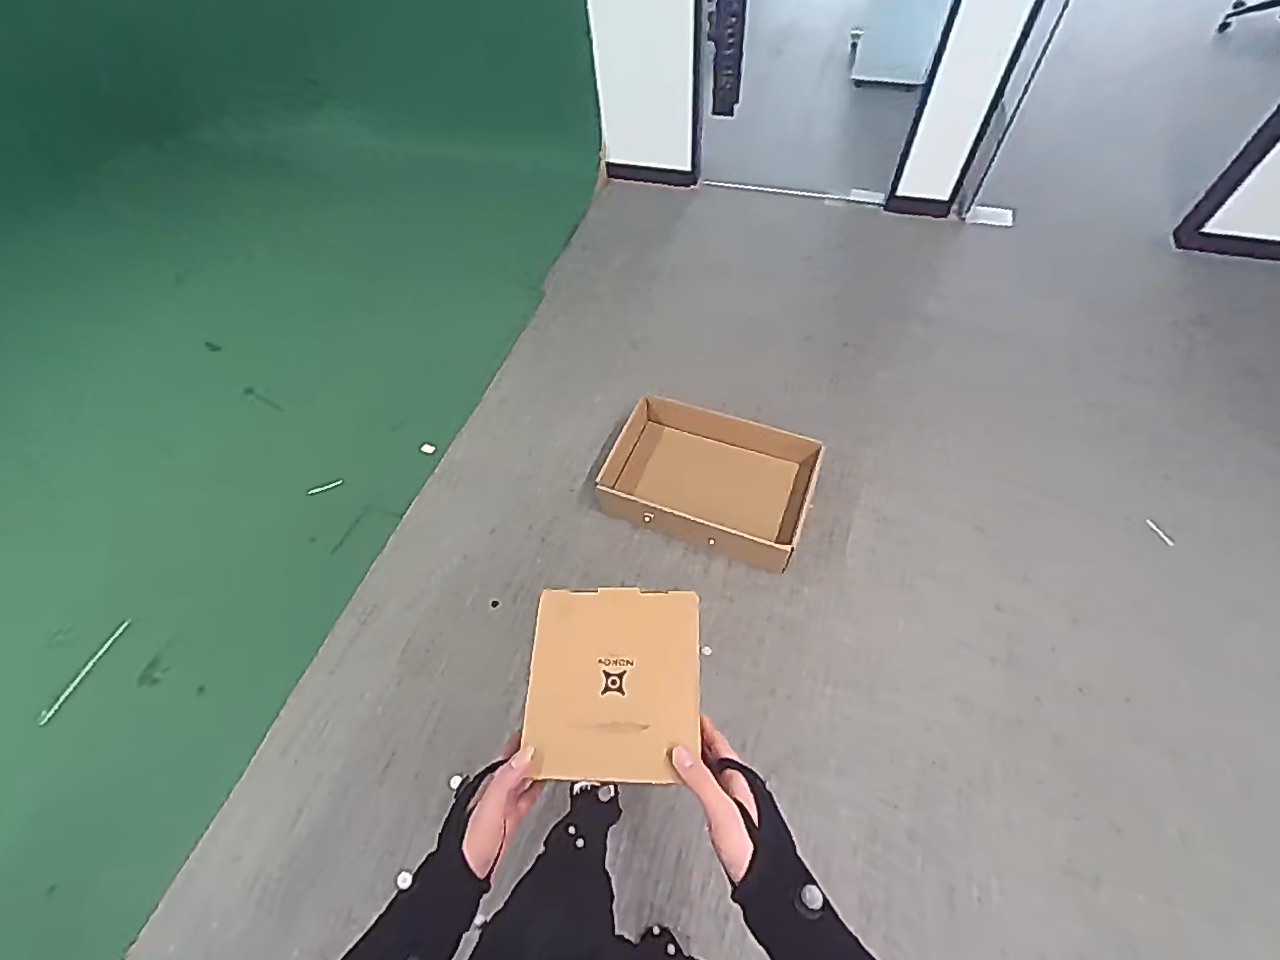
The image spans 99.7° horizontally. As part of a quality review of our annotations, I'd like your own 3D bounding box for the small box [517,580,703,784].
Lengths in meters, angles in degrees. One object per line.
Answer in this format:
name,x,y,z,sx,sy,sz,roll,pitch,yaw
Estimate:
small box,-0.019,0.221,0.581,0.168,0.176,0.179,1,60,4
